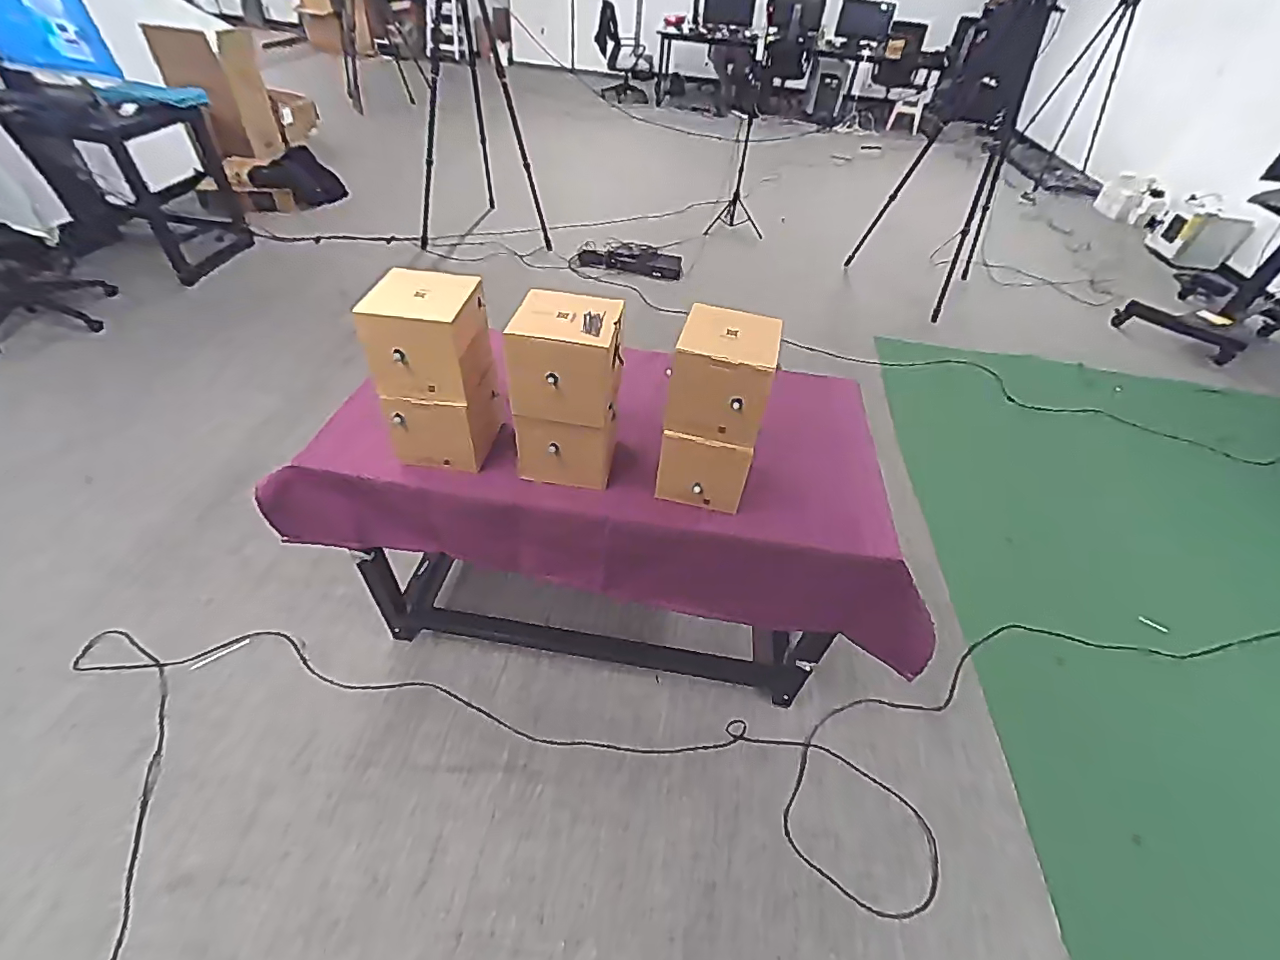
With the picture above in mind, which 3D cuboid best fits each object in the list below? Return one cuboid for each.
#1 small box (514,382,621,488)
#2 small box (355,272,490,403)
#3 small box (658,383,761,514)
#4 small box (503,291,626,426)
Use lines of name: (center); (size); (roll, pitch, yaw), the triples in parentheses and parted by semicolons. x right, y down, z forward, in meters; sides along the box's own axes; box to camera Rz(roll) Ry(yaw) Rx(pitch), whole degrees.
small box: (-0.139, -0.101, 1.089); (0.179, 0.176, 0.168); (8, 45, 3)
small box: (-0.383, -0.260, 0.993); (0.168, 0.176, 0.179); (6, 43, 0)
small box: (0.135, -0.063, 1.074); (0.168, 0.176, 0.179); (12, 44, 7)
small box: (-0.127, -0.215, 0.969); (0.179, 0.176, 0.168); (8, 44, 4)
